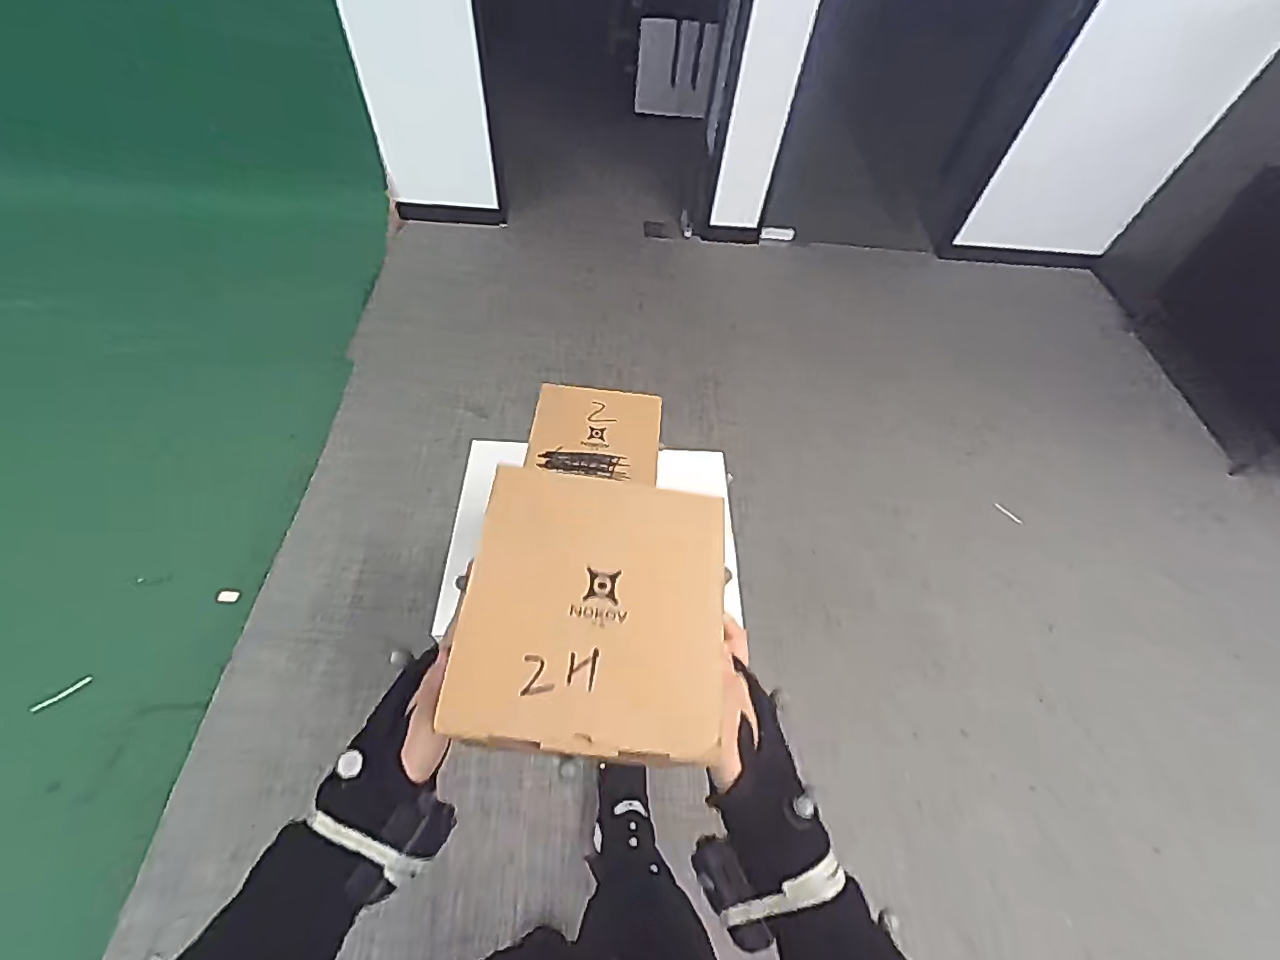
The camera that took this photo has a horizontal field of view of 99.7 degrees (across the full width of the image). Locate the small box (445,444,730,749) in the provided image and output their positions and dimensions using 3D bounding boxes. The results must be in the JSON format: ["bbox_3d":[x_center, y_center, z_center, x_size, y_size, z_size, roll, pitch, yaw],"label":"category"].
[{"bbox_3d":[-0.034,0.099,0.415,0.168,0.176,0.179,8,61,-5],"label":"small box"}]
